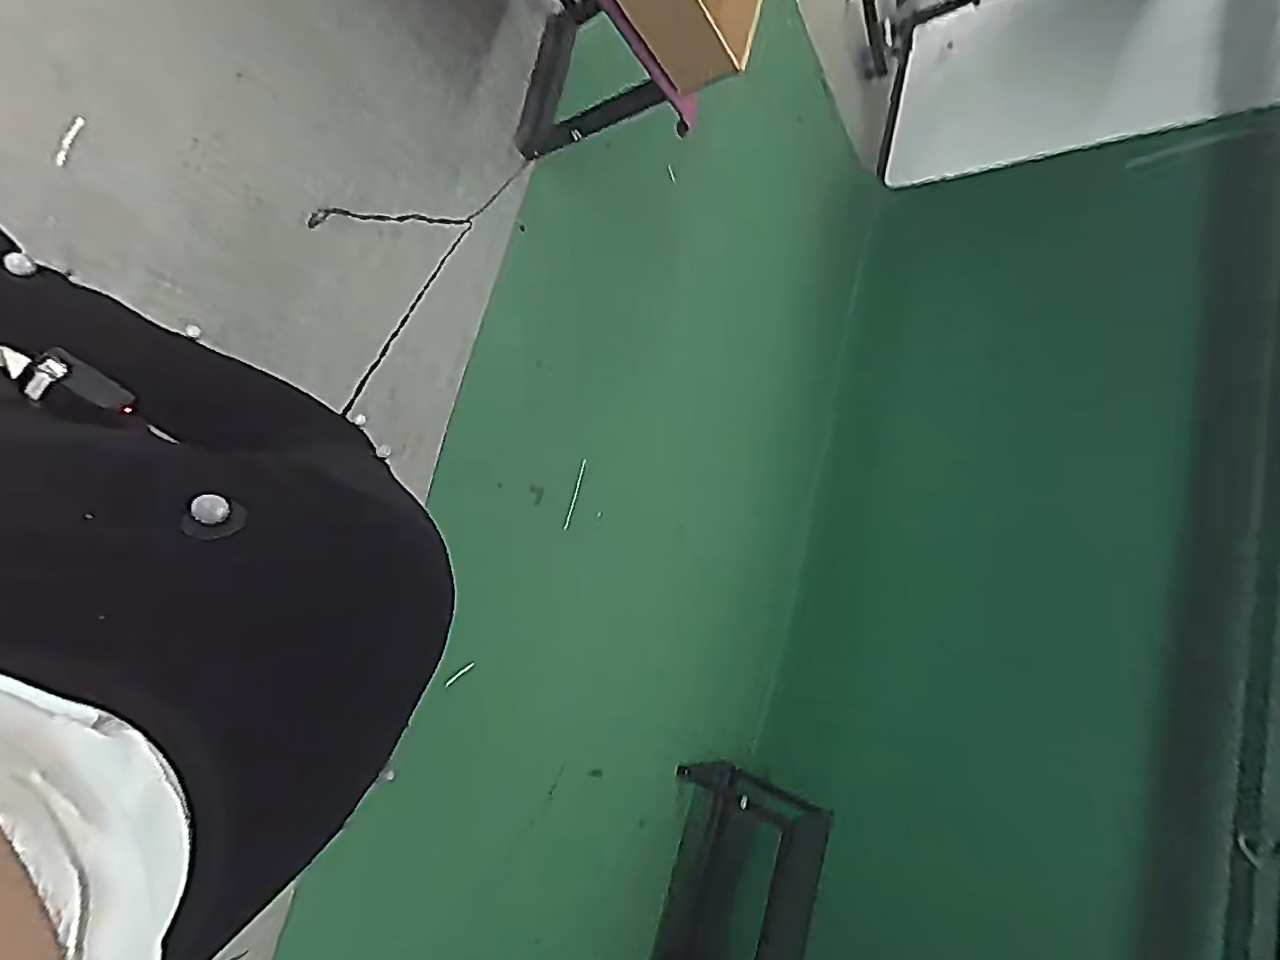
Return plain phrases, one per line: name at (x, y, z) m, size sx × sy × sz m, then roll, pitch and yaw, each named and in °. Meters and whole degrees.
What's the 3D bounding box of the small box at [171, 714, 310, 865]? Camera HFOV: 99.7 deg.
small box at (-0.824, 0.622, 1.111) m, size 0.179 × 0.176 × 0.168 m, roll -26°, pitch 114°, yaw -46°
